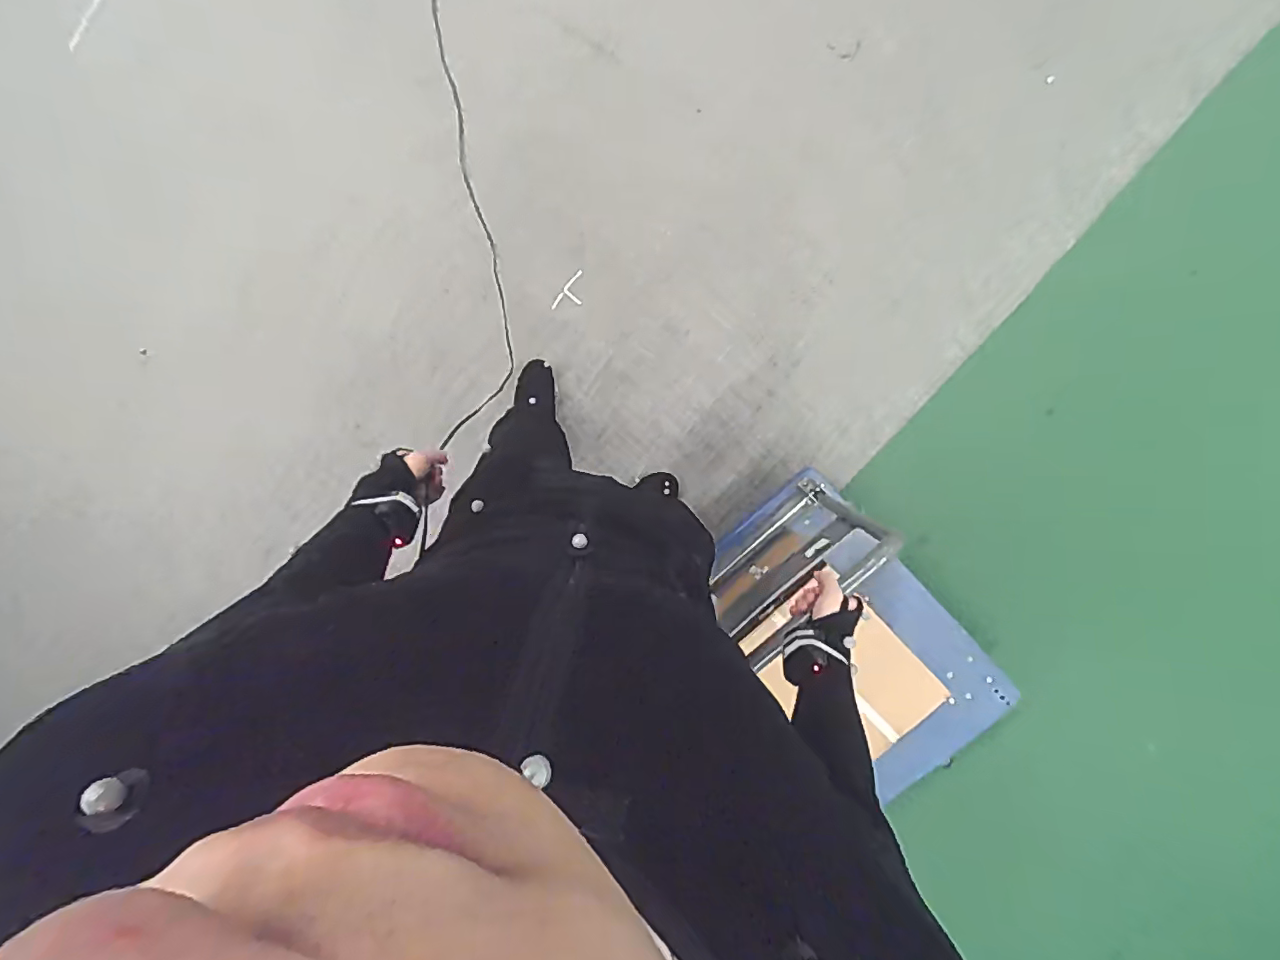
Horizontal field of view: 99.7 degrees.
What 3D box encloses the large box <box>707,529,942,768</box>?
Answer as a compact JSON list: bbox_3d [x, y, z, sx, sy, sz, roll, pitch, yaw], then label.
[{"bbox_3d":[0.419,0.388,1.331,0.320,0.320,0.408,-43,95,8],"label":"large box"}]
